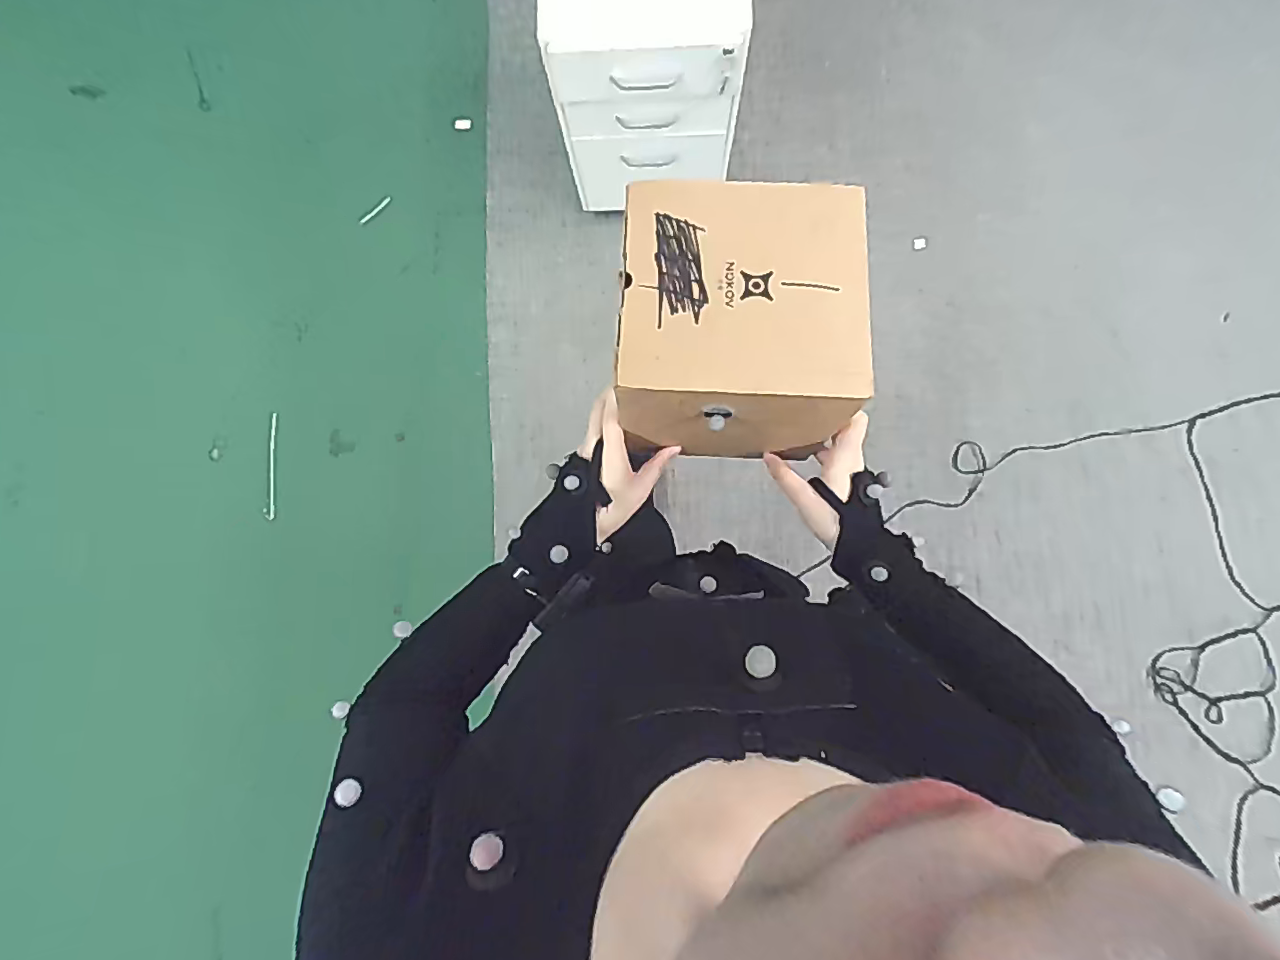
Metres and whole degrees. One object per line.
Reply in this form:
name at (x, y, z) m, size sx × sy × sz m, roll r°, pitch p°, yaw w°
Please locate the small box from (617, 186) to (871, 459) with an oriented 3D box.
small box at (0.078, -0.119, 0.464) m, size 0.179 × 0.176 × 0.168 m, roll 3°, pitch 78°, yaw 1°
